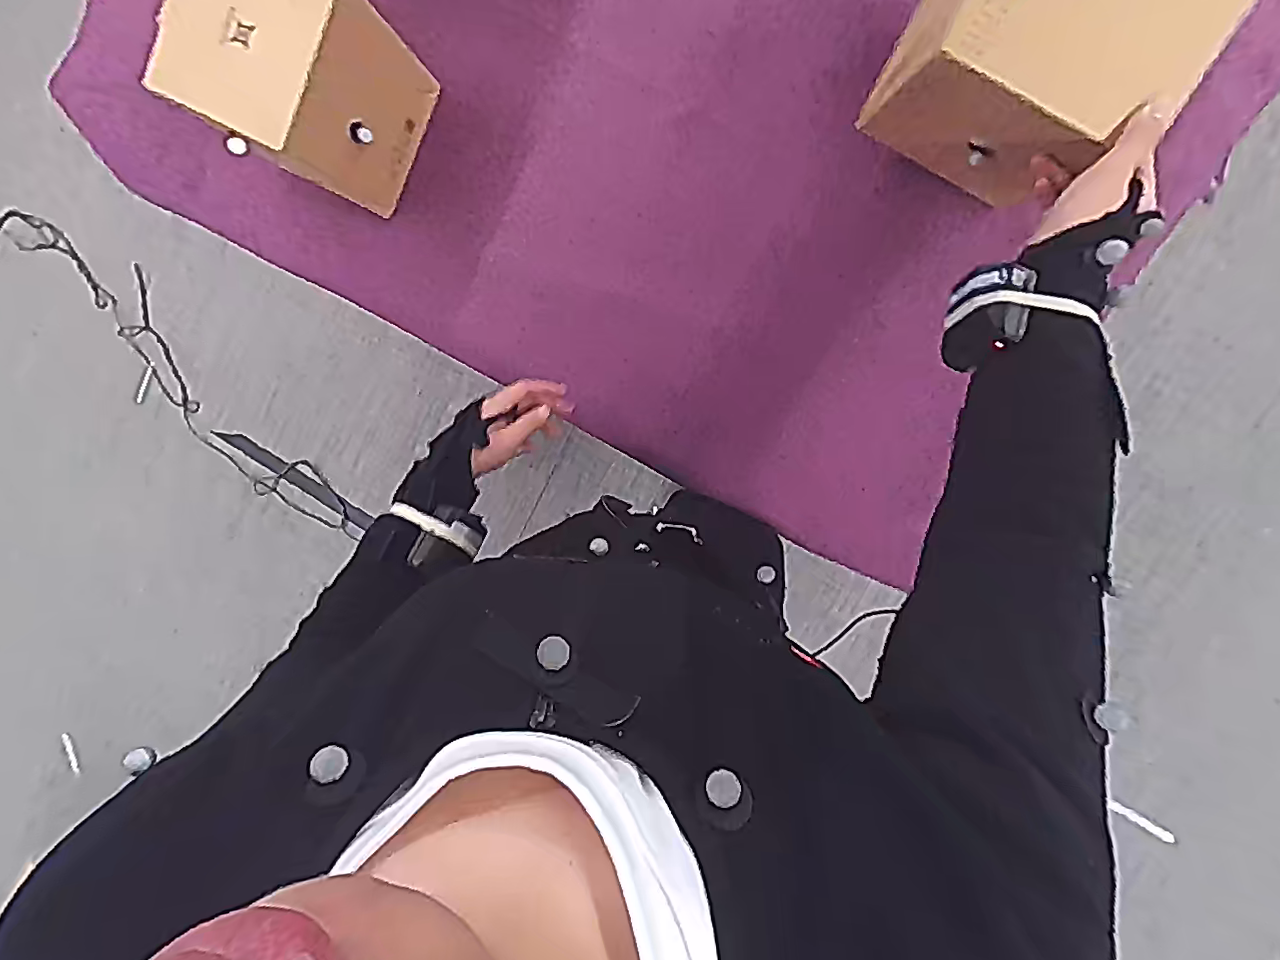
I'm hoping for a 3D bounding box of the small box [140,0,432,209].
[{"bbox_3d":[-0.359,-0.420,0.577,0.179,0.176,0.168,28,99,7],"label":"small box"}]
